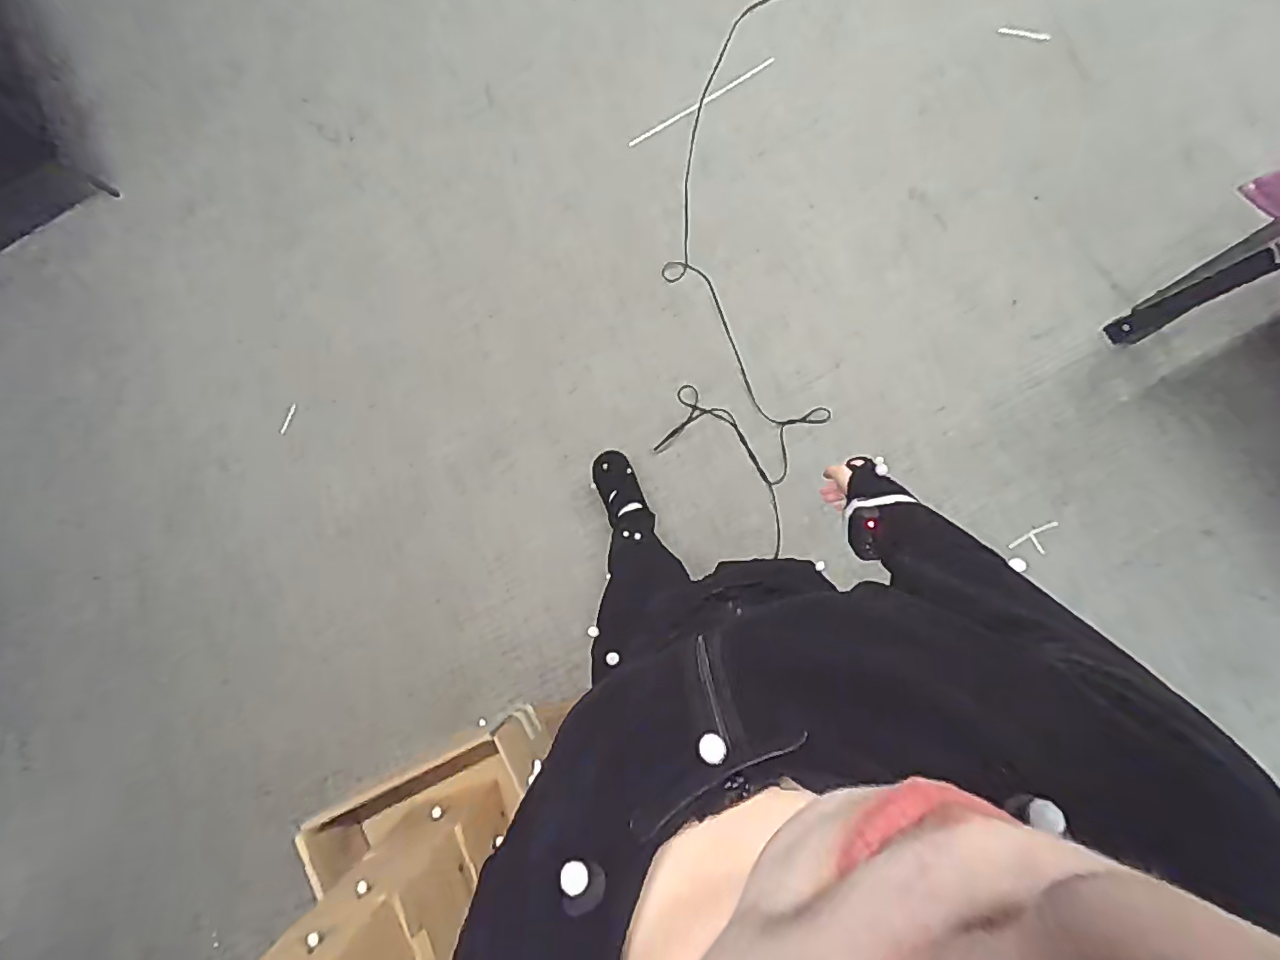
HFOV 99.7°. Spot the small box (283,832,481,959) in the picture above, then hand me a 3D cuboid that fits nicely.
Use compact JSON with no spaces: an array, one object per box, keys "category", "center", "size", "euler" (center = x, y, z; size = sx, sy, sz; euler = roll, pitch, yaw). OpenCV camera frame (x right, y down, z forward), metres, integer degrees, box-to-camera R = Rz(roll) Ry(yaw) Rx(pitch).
[{"category":"small box","center":[-0.348,0.648,0.770],"size":[0.179,0.176,0.168],"euler":[-25,84,4]}]

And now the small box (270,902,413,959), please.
[{"category":"small box","center":[-0.363,0.640,0.608],"size":[0.168,0.176,0.179],"euler":[-25,83,3]}]
